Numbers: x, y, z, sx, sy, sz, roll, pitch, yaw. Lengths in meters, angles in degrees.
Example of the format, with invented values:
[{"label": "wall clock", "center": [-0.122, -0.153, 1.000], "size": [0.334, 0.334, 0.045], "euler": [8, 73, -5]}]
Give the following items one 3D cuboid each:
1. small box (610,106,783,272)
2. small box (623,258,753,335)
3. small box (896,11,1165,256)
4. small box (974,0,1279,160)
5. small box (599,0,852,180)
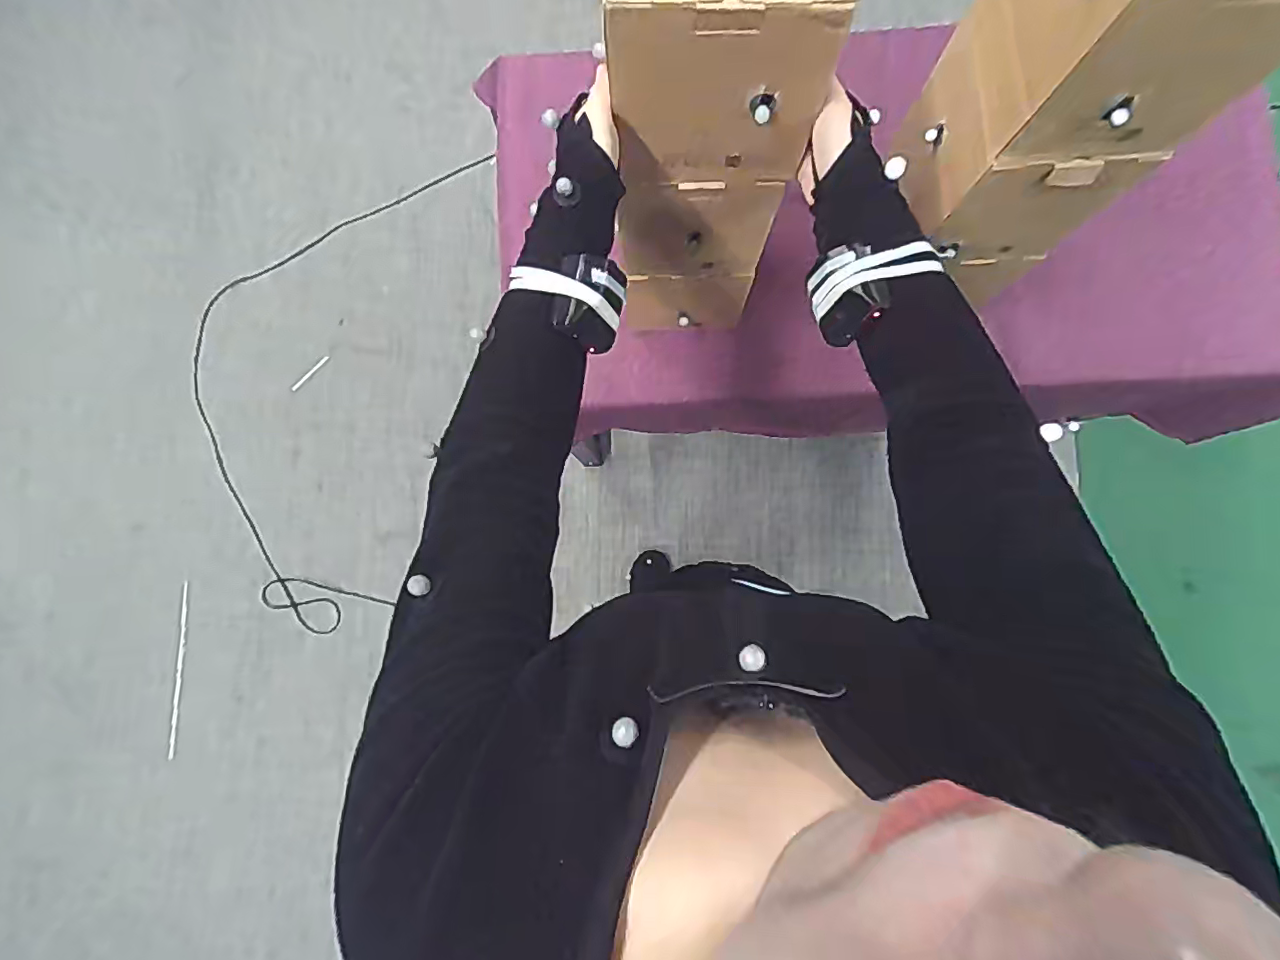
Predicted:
[{"label": "small box", "center": [0.056, -0.347, 0.599], "size": [0.168, 0.176, 0.179], "euler": [-1, 83, 1]}, {"label": "small box", "center": [0.061, -0.322, 0.762], "size": [0.168, 0.176, 0.179], "euler": [-1, 82, 2]}, {"label": "small box", "center": [0.402, -0.363, 0.591], "size": [0.168, 0.176, 0.179], "euler": [-2, 81, 2]}, {"label": "small box", "center": [0.399, -0.395, 0.430], "size": [0.168, 0.176, 0.179], "euler": [-3, 83, 1]}, {"label": "small box", "center": [0.060, -0.373, 0.438], "size": [0.168, 0.176, 0.179], "euler": [1, 81, 1]}]
